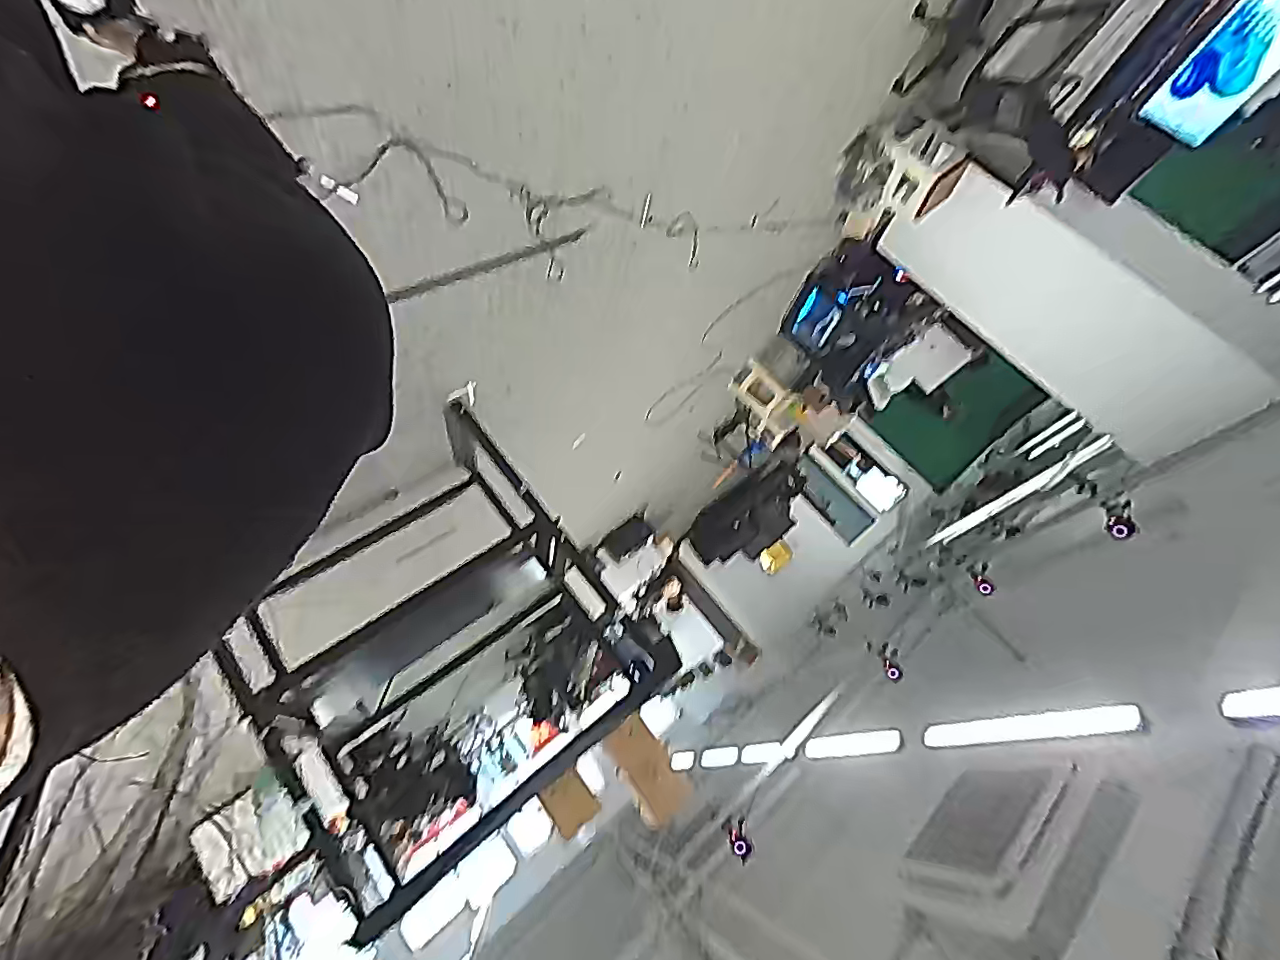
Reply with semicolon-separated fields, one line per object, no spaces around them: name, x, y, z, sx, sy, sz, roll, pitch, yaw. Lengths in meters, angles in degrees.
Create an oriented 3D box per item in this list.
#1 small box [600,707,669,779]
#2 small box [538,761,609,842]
small box;-0.026;0.943;1.948;0.168;0.176;0.179;-32;164;-24
small box;-0.231;1.079;1.828;0.168;0.176;0.179;-33;165;-26
